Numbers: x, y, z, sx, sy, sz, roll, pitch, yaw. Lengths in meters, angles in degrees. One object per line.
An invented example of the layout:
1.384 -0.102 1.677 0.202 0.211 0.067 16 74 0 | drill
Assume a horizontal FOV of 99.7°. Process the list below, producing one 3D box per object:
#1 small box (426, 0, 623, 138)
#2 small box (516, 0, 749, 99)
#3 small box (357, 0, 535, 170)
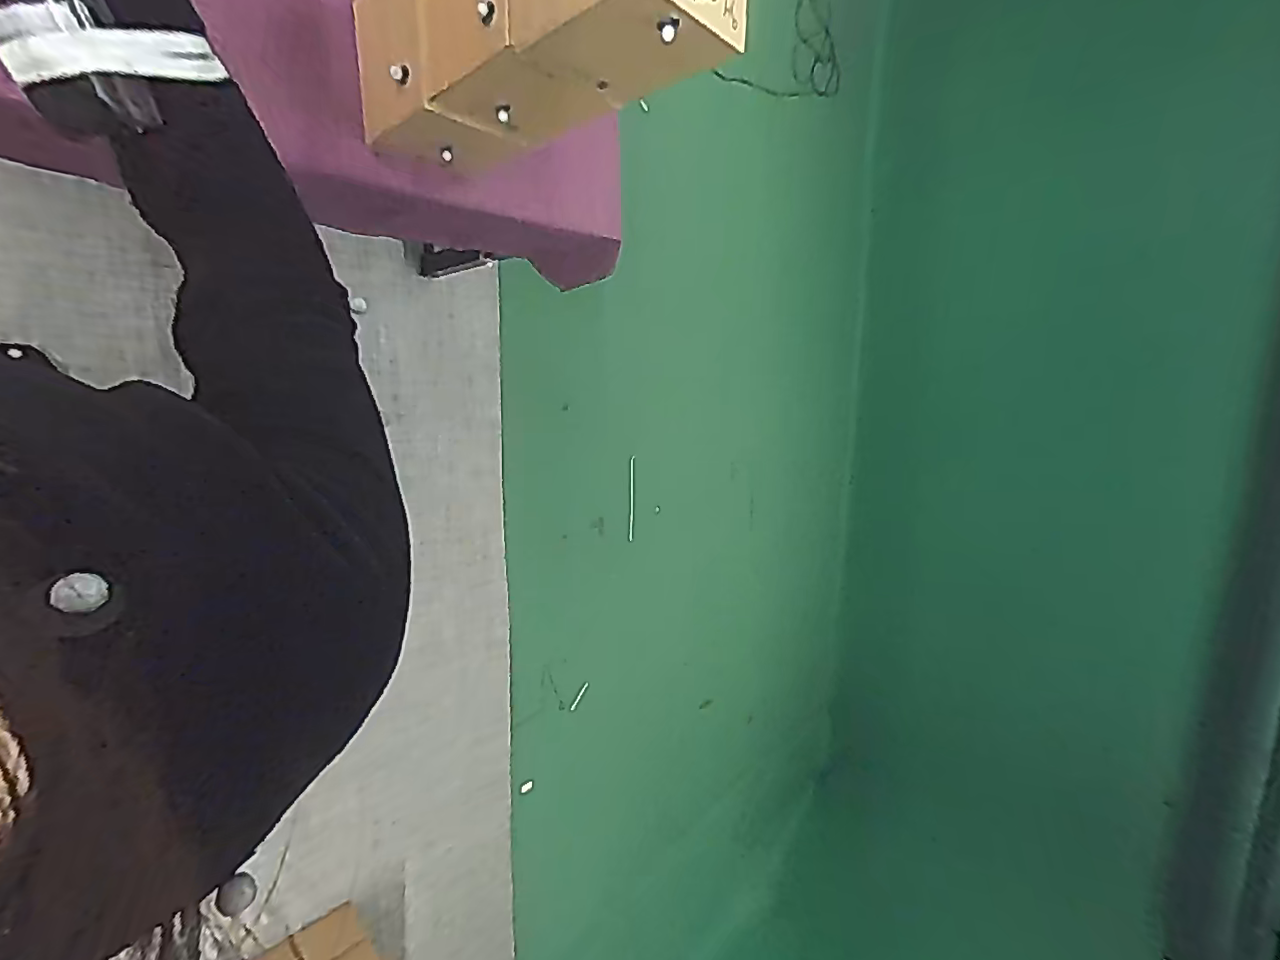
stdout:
-0.134 -0.537 0.629 0.168 0.176 0.179 -12 107 -48 | small box
-0.011 -0.515 0.522 0.168 0.176 0.179 -17 109 -46 | small box
-0.261 -0.548 0.732 0.168 0.176 0.179 -13 106 -48 | small box
